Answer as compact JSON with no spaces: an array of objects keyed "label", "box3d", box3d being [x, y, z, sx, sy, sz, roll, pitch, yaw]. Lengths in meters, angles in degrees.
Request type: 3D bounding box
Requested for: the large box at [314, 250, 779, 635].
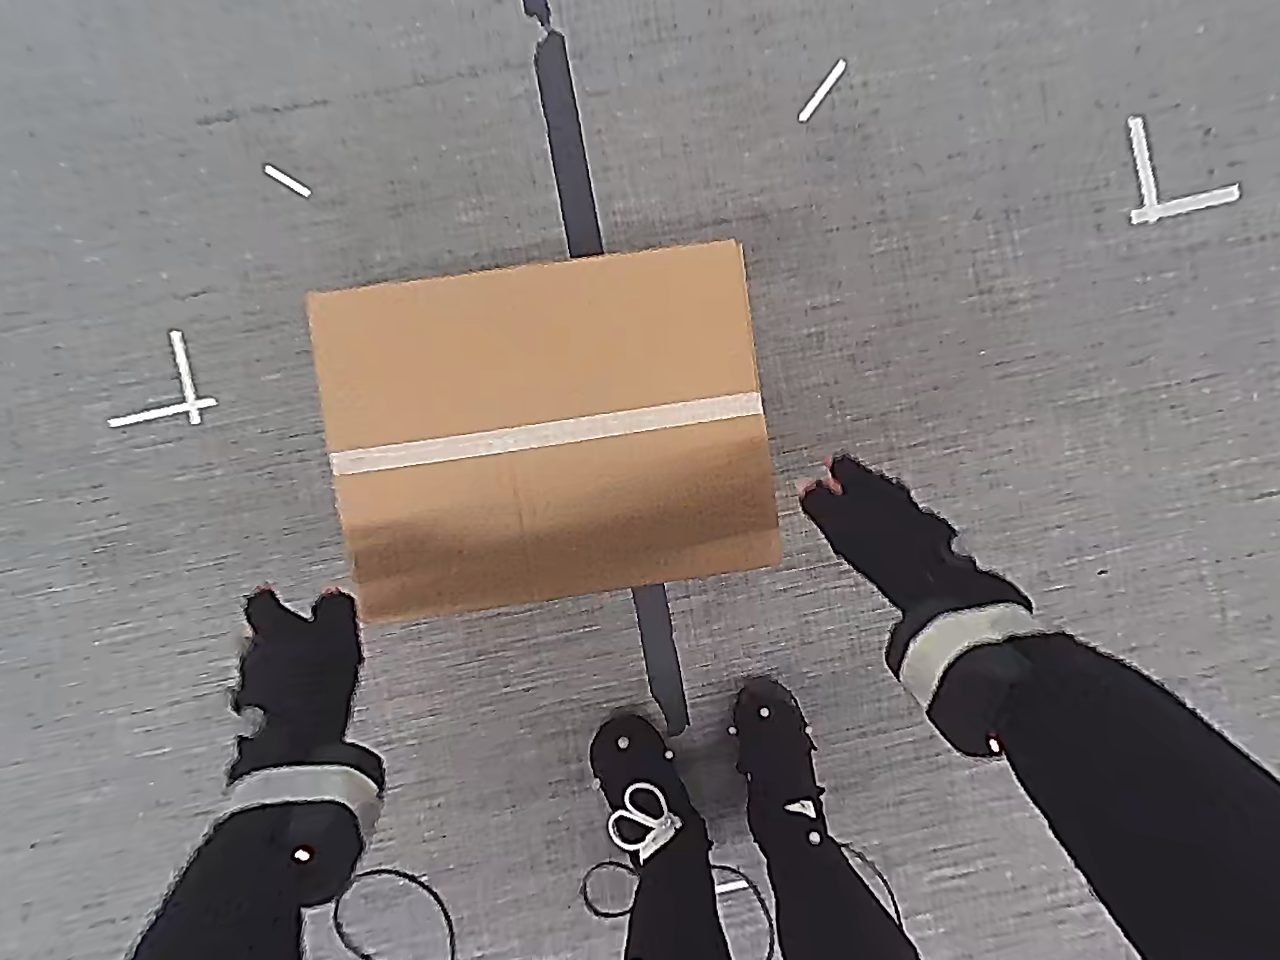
[{"label":"large box","box3d":[-0.087,-0.042,0.659,0.408,0.320,0.320,-9,92,-1]}]
